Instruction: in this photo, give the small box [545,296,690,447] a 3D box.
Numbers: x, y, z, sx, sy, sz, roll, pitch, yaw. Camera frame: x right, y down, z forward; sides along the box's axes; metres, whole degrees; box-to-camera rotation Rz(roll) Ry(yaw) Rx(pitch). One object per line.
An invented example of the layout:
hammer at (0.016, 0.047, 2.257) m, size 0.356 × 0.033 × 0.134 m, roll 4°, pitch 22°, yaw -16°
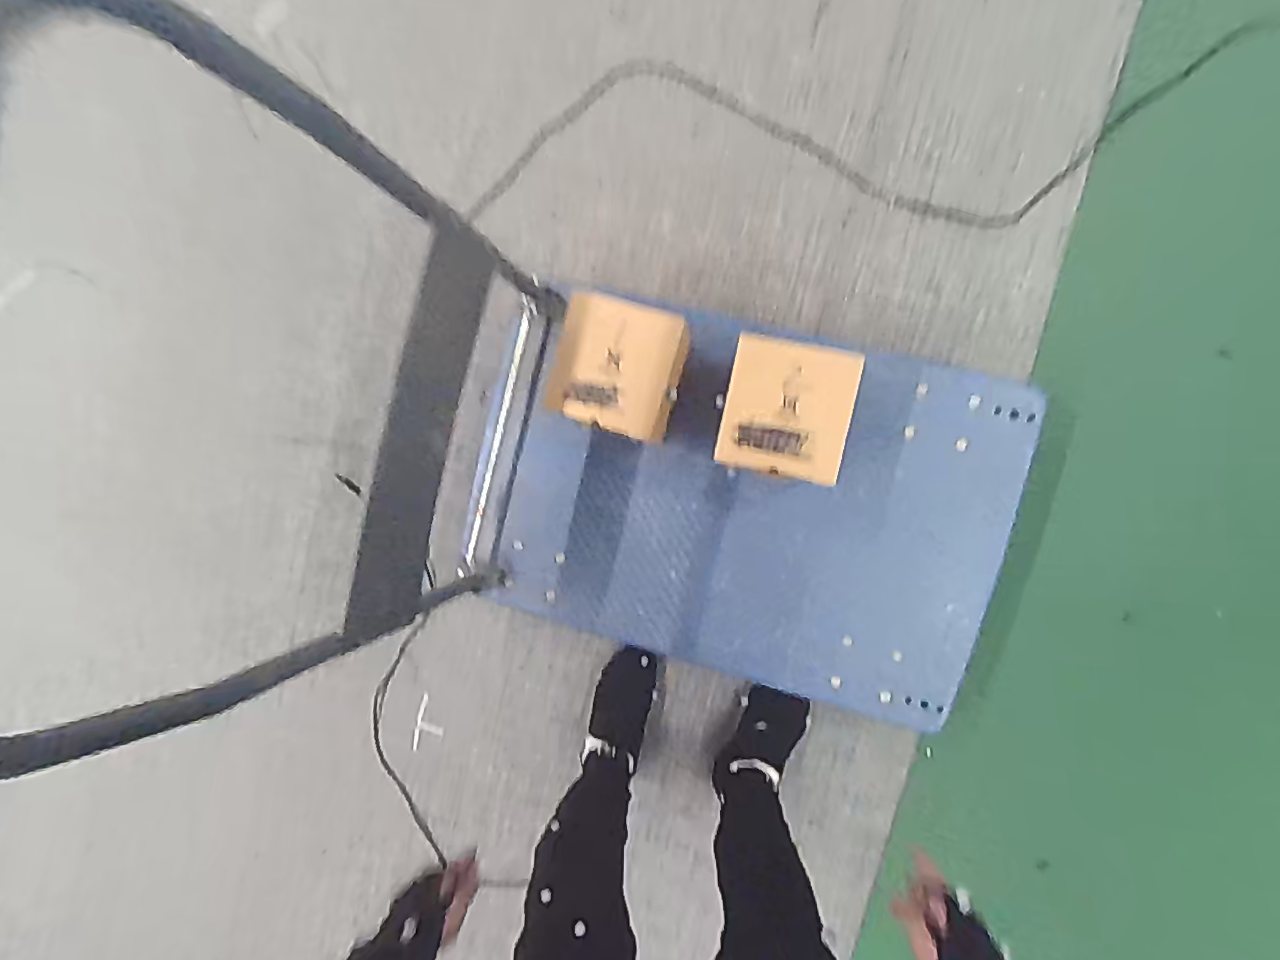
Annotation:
small box at (-0.023, -0.154, 0.831) m, size 0.168 × 0.176 × 0.179 m, roll 18°, pitch 94°, yaw 7°
